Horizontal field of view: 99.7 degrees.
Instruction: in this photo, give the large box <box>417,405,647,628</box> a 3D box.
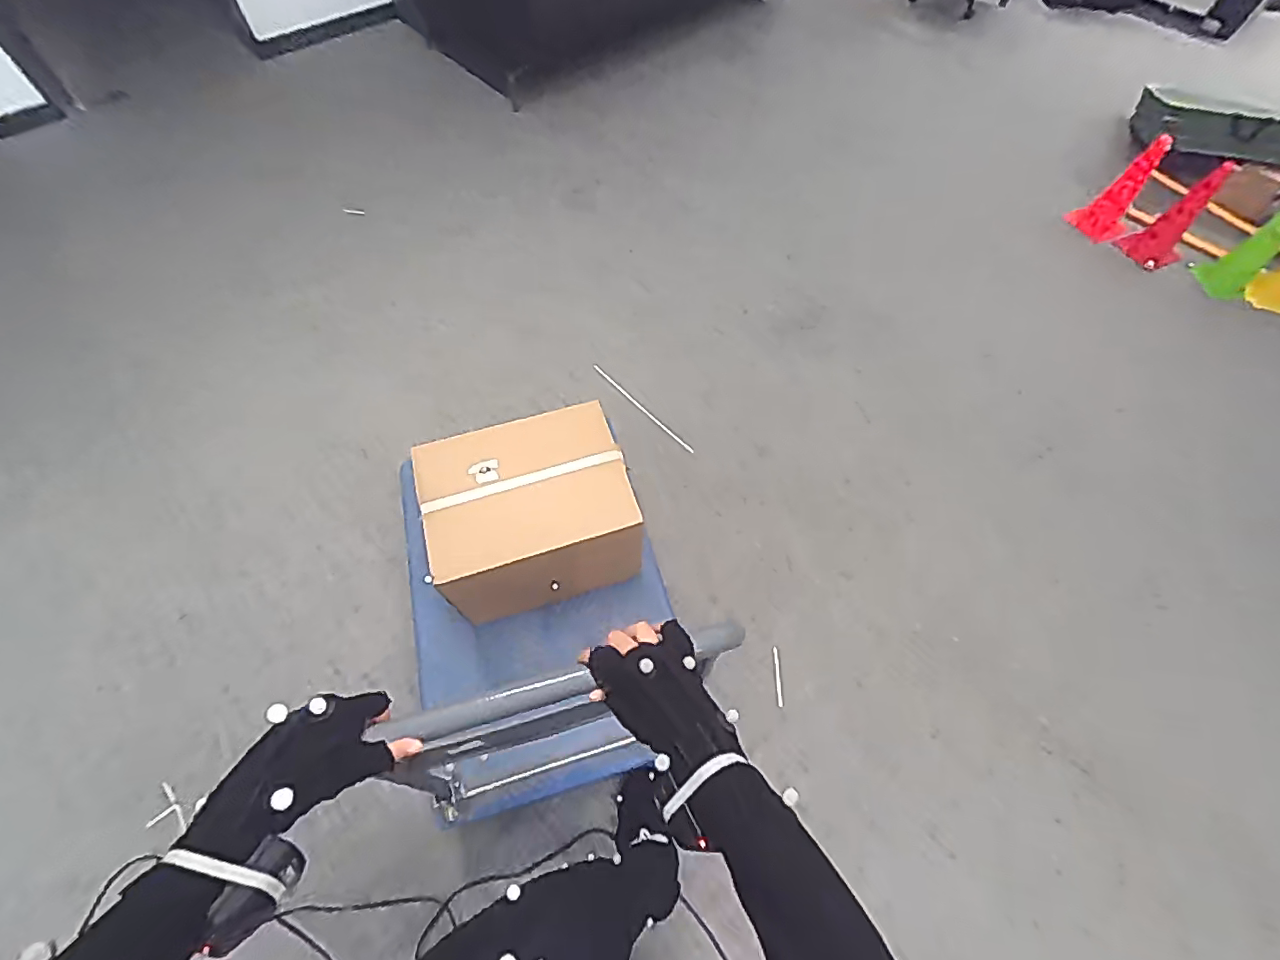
[{"bbox_3d":[-0.223,0.090,1.211,0.408,0.320,0.320,-17,62,-10],"label":"large box"}]
